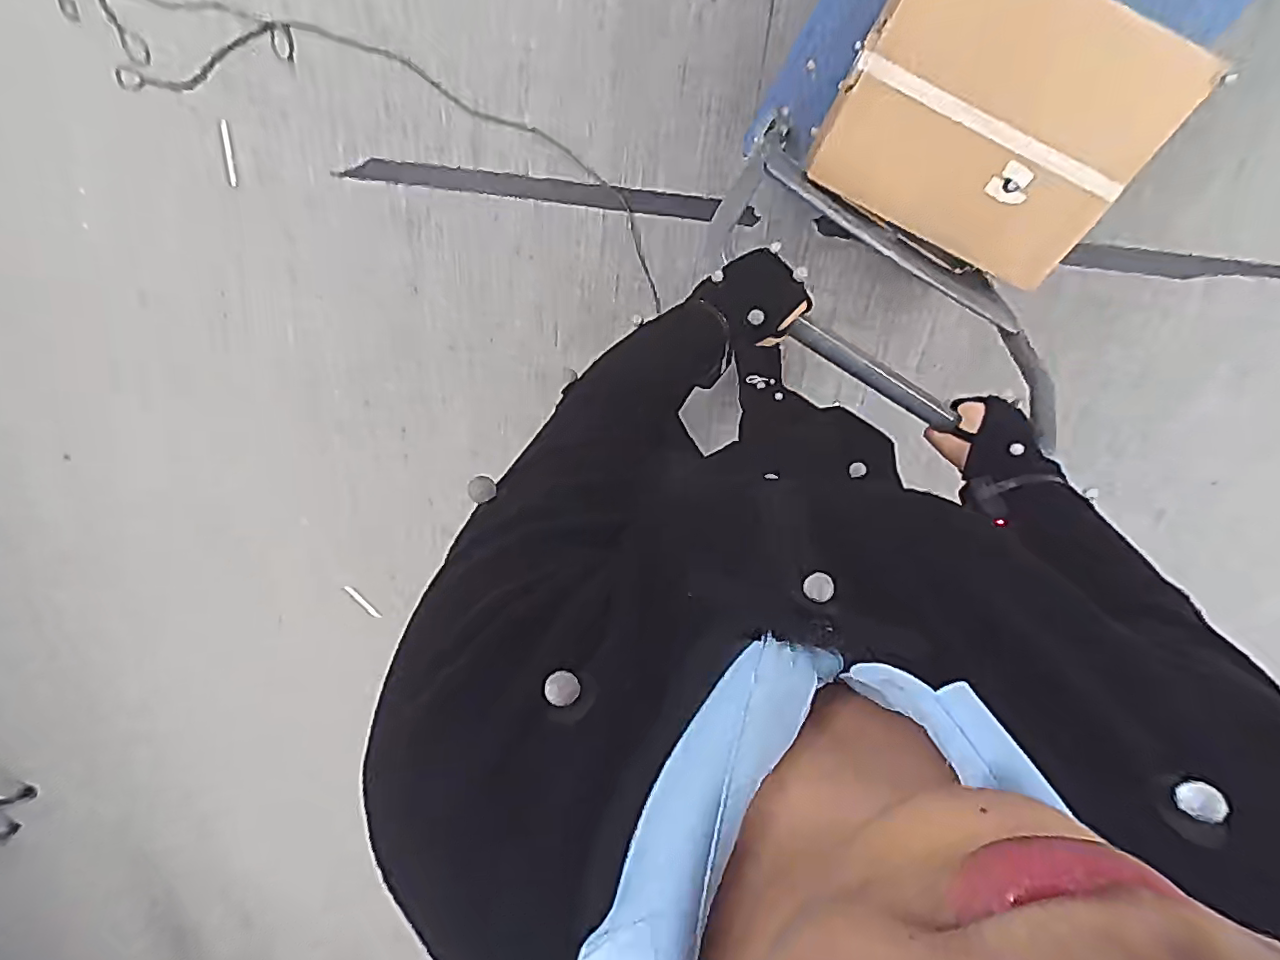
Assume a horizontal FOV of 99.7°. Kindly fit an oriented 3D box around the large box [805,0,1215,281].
[{"bbox_3d":[0.526,-0.591,0.881,0.408,0.320,0.320,26,129,-3],"label":"large box"}]
